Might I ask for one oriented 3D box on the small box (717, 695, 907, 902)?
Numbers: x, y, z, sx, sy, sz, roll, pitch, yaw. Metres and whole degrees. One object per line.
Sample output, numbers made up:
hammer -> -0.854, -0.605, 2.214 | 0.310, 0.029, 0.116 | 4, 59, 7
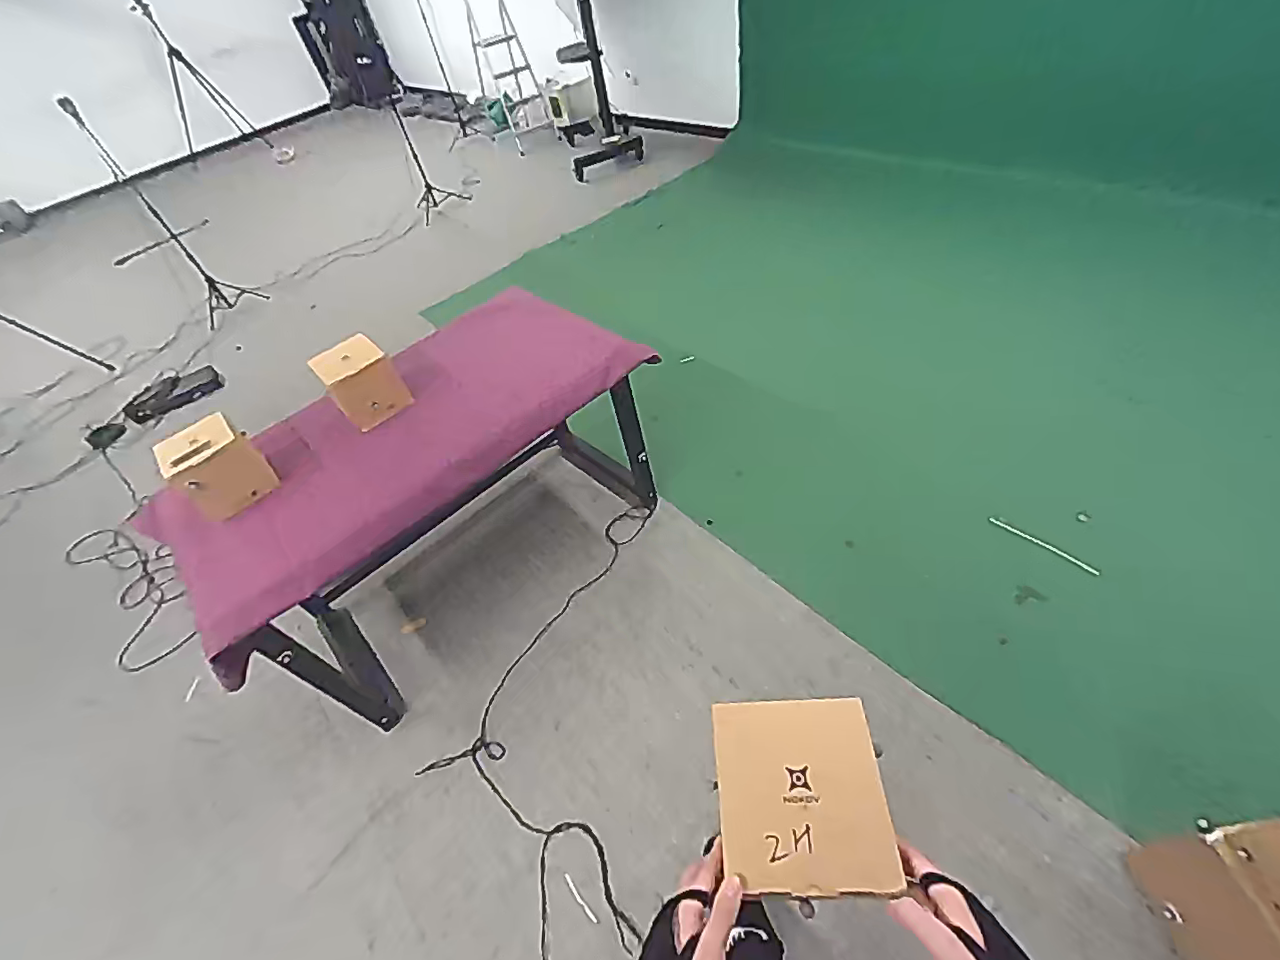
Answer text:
small box -> 0.175, 0.360, 0.611 | 0.168, 0.176, 0.179 | -5, 50, 7

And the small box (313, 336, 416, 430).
small box -> -0.758, -0.266, 1.499 | 0.168, 0.176, 0.179 | -38, 53, -22

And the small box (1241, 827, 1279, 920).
small box -> 1.104, 0.634, 0.830 | 0.179, 0.176, 0.168 | -8, 48, 5
